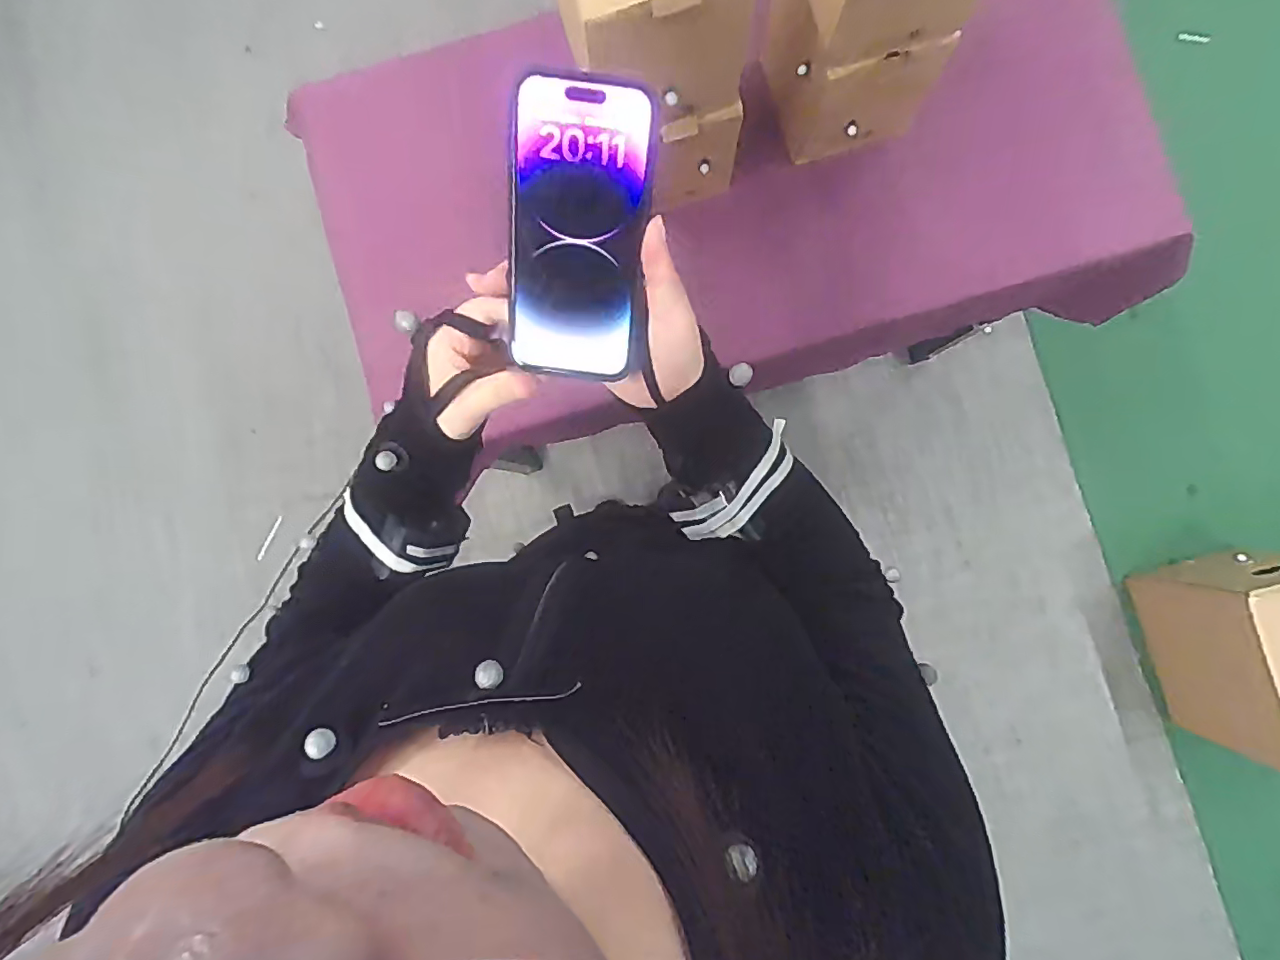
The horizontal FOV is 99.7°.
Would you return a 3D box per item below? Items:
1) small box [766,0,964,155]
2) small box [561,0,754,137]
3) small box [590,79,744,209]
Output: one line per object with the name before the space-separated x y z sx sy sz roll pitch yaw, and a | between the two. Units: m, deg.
small box | 0.278 -0.578 0.712 0.168 0.176 0.179 -17 88 2
small box | 0.006 -0.507 0.558 0.168 0.176 0.179 -17 88 2
small box | 0.027 -0.494 0.721 0.168 0.176 0.179 -17 87 1
